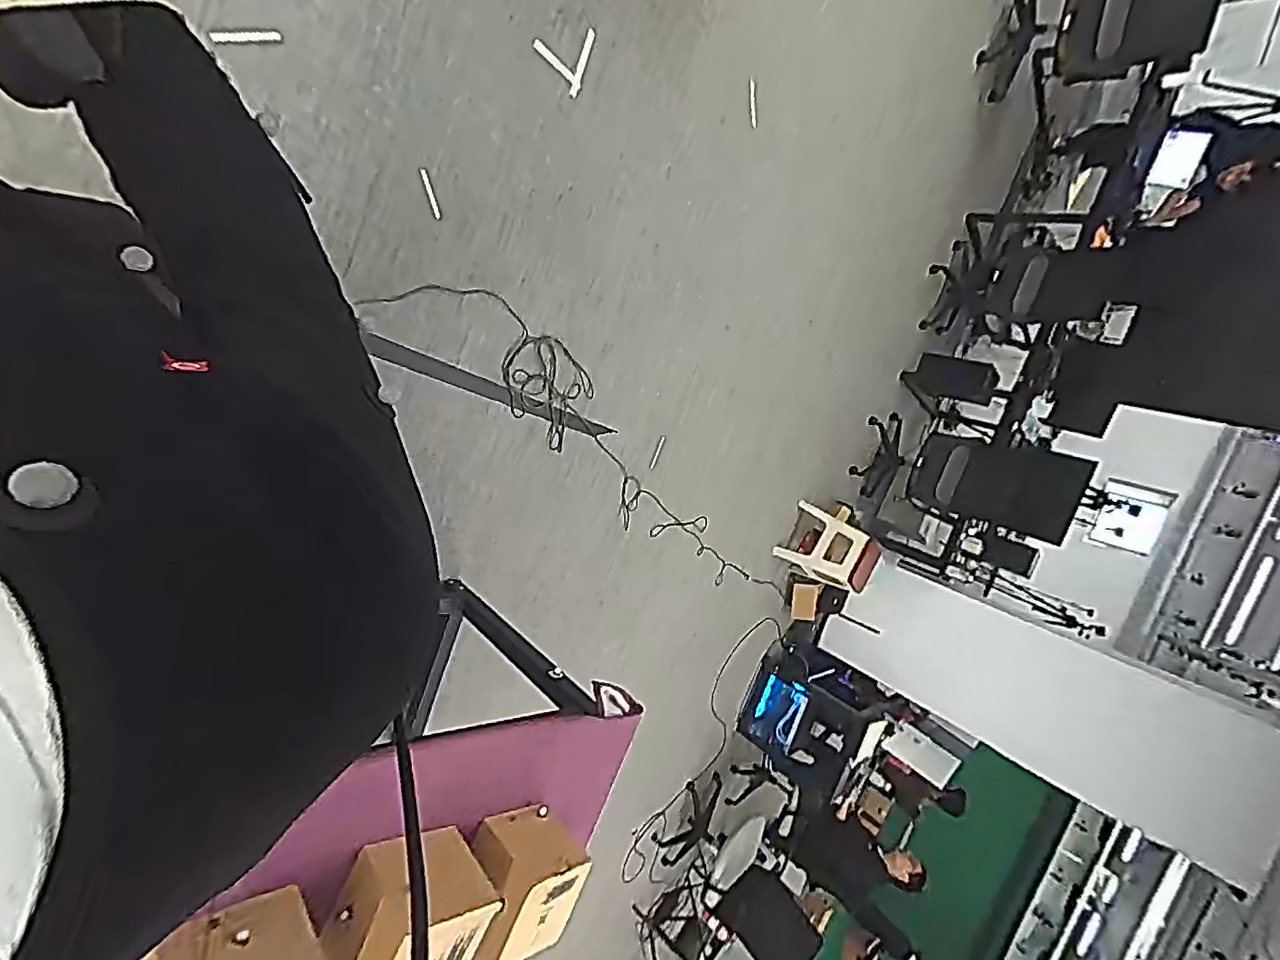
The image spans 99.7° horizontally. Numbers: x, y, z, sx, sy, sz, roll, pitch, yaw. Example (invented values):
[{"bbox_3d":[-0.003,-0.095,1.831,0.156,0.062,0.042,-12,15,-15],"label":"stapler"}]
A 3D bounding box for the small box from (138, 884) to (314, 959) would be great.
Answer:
[{"bbox_3d":[-0.529,0.671,0.678,0.168,0.176,0.179,17,95,-50],"label":"small box"}]

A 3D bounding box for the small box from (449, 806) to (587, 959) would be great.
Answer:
[{"bbox_3d":[-0.239,0.766,1.046,0.168,0.176,0.179,25,89,-50],"label":"small box"}]
